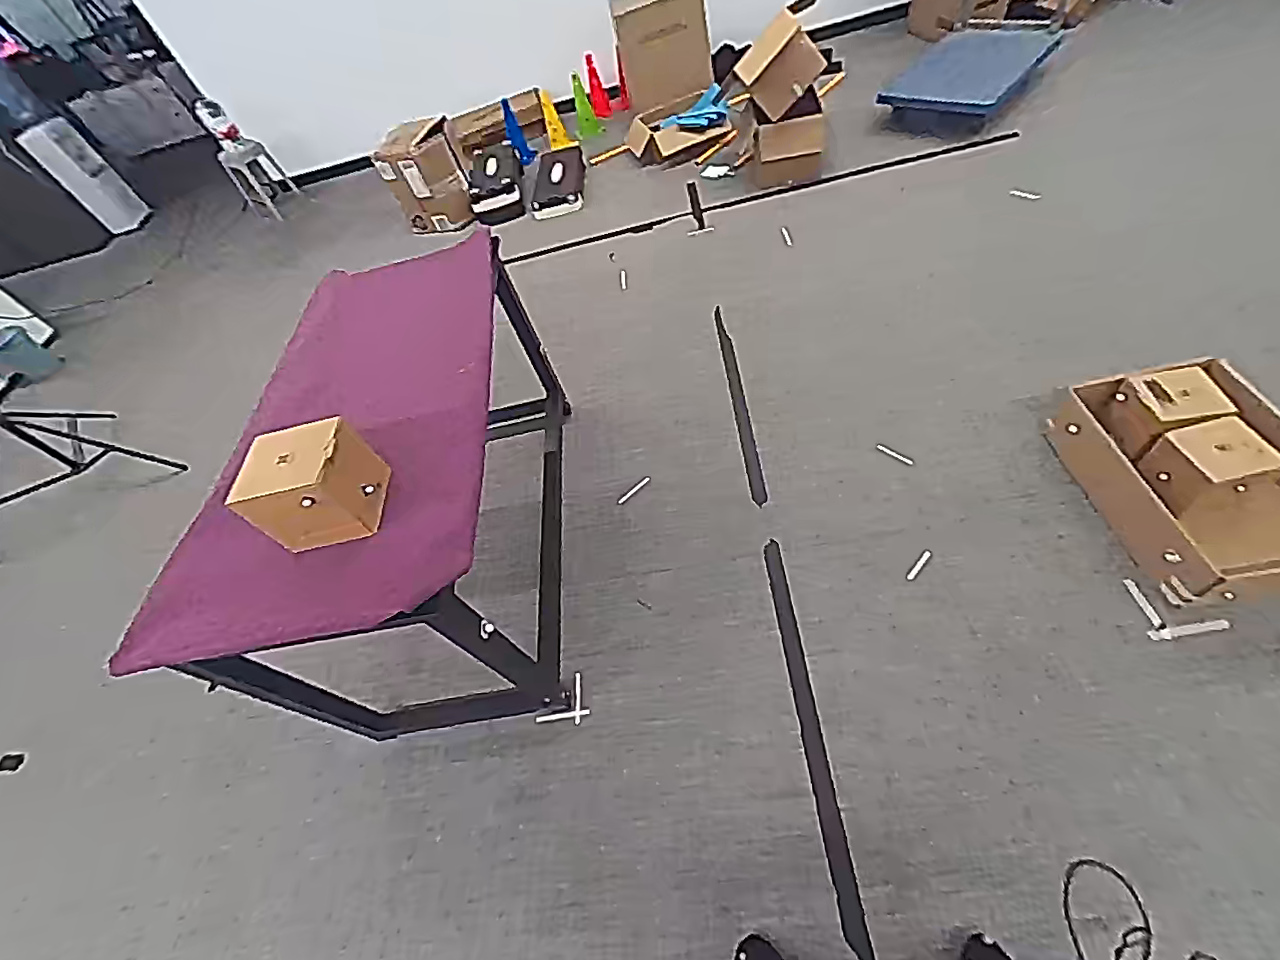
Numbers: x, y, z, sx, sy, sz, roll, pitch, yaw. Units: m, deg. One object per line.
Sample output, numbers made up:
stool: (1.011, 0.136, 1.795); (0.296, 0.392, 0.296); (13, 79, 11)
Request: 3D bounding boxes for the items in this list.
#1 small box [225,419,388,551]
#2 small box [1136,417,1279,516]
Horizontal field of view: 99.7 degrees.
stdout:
small box: (-0.614, 0.016, 1.022); (0.179, 0.176, 0.168); (-13, 51, 5)
small box: (1.427, -0.029, 1.376); (0.179, 0.176, 0.168); (-14, 53, 5)
